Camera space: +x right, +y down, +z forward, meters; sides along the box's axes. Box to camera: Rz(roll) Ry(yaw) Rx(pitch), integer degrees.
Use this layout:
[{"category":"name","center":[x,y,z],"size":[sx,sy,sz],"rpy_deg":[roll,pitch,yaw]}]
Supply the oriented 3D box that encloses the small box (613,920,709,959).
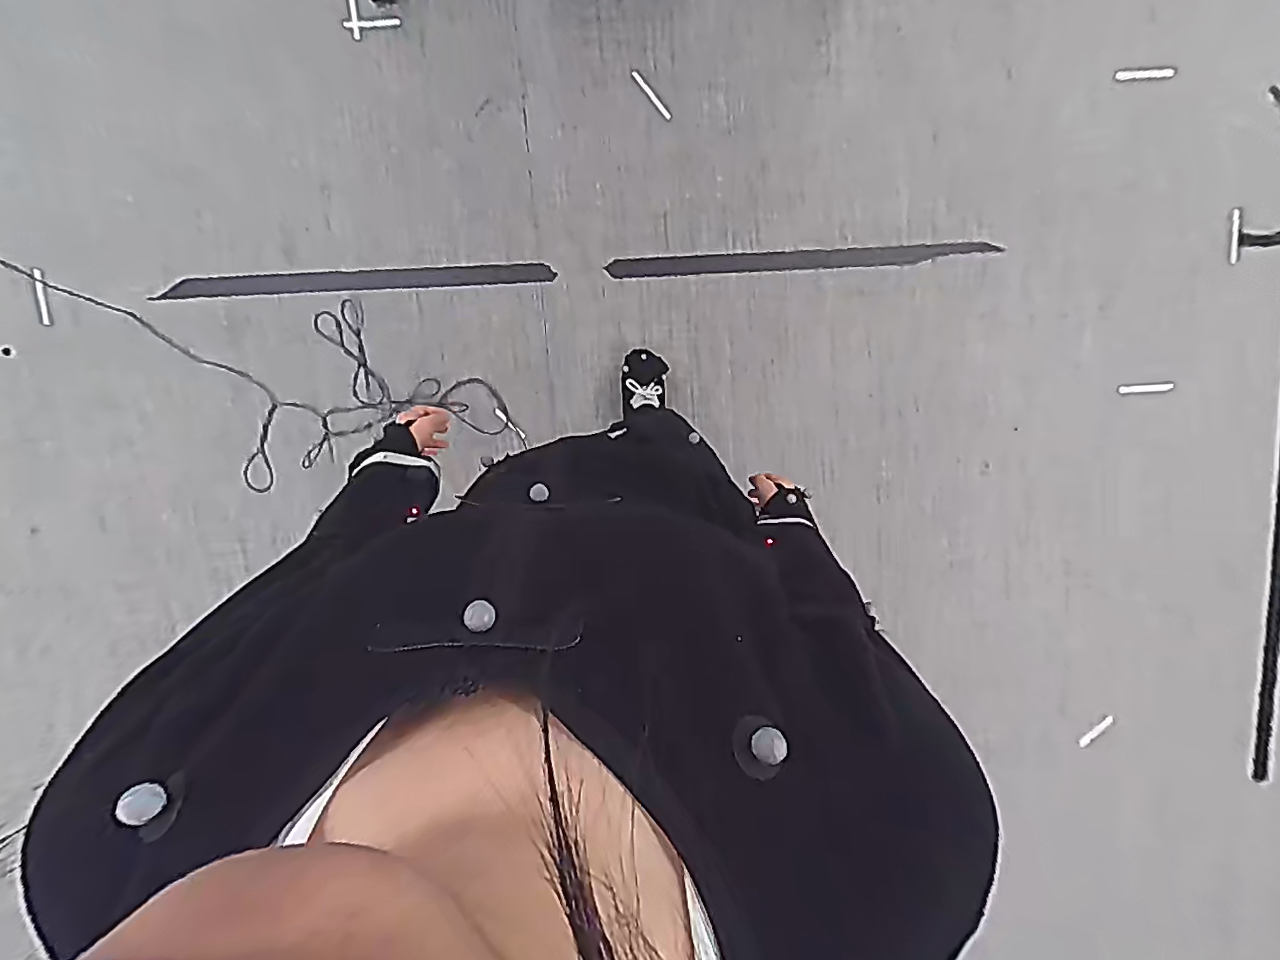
[{"category":"small box","center":[0.036,0.894,0.919],"size":[0.168,0.176,0.179],"rpy_deg":[0,97,-2]}]
